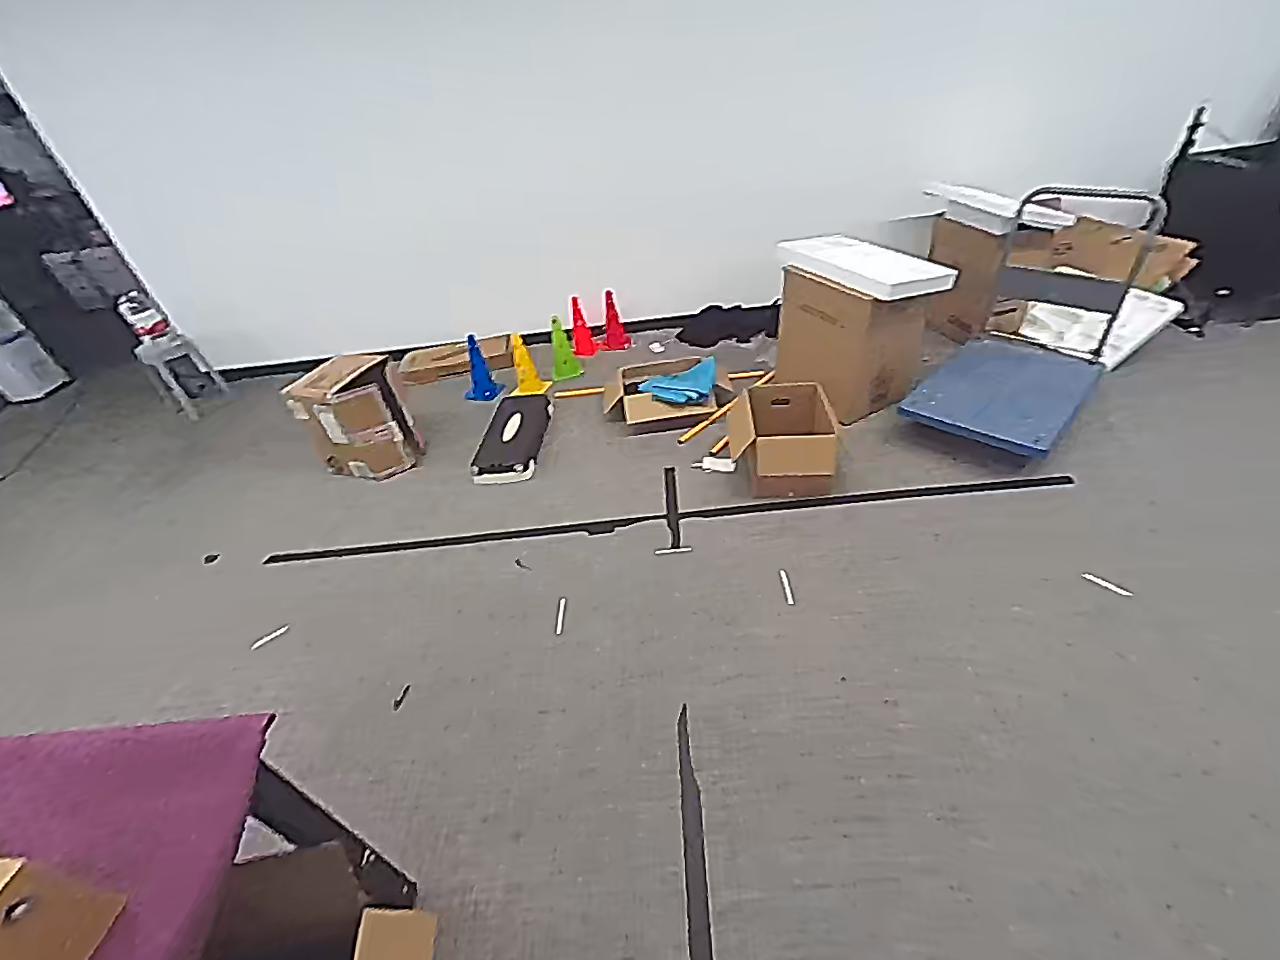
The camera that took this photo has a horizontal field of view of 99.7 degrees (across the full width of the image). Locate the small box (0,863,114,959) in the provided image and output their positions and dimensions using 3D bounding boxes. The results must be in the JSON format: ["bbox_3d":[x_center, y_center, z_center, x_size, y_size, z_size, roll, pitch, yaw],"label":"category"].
[{"bbox_3d":[-0.764,0.549,0.596,0.168,0.176,0.179,-3,38,7],"label":"small box"}]
